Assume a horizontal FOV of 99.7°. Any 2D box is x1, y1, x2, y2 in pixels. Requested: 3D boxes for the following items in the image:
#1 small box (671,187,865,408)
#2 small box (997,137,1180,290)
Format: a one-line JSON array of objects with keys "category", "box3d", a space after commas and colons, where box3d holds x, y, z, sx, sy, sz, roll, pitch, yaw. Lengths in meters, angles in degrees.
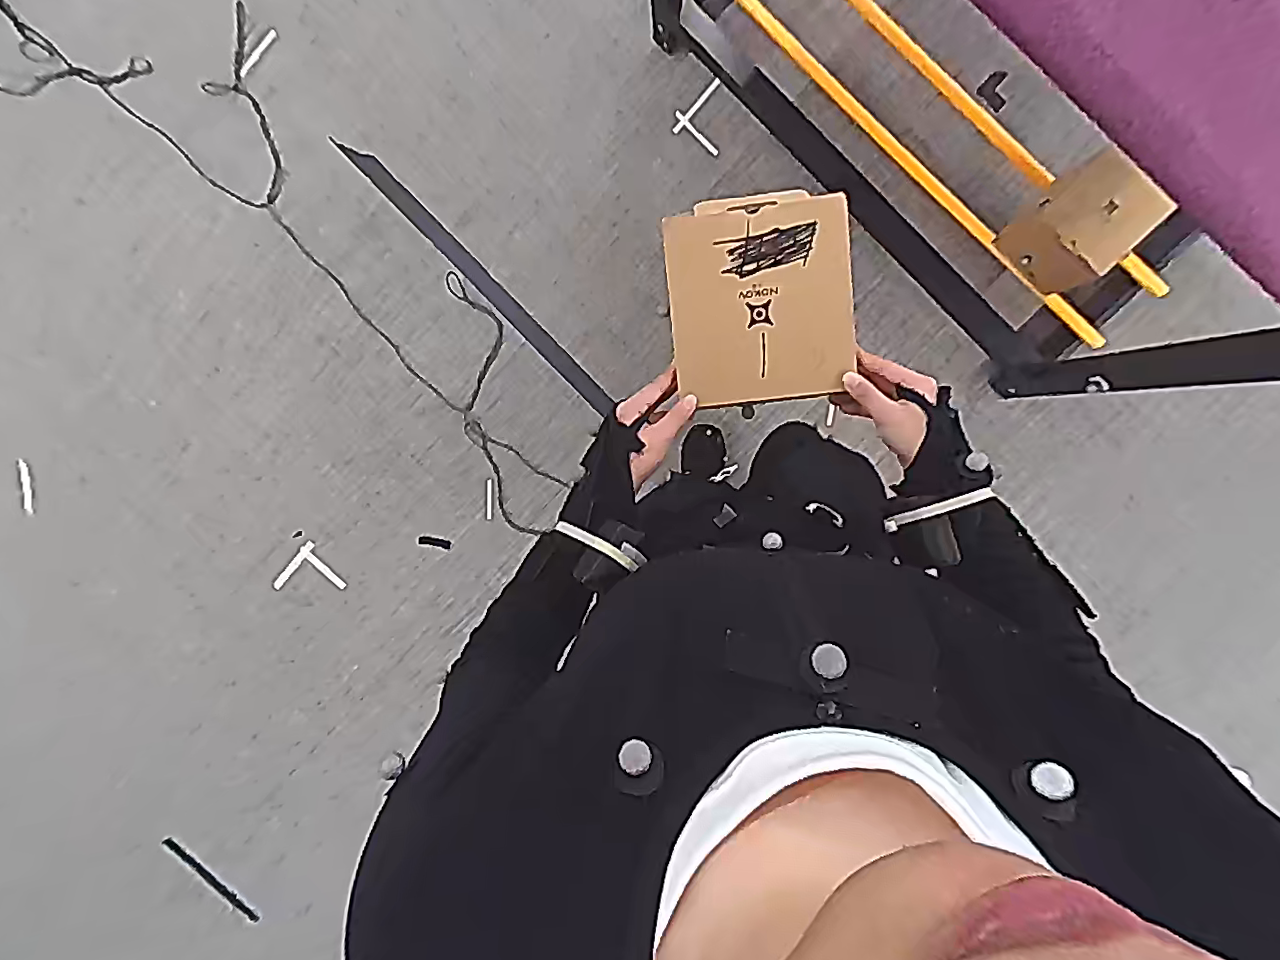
[{"category": "small box", "box3d": [0.120, -0.171, 0.563, 0.168, 0.176, 0.179, -5, 96, 5]}, {"category": "small box", "box3d": [0.850, -0.502, 1.047, 0.168, 0.176, 0.179, 44, 99, -1]}]
